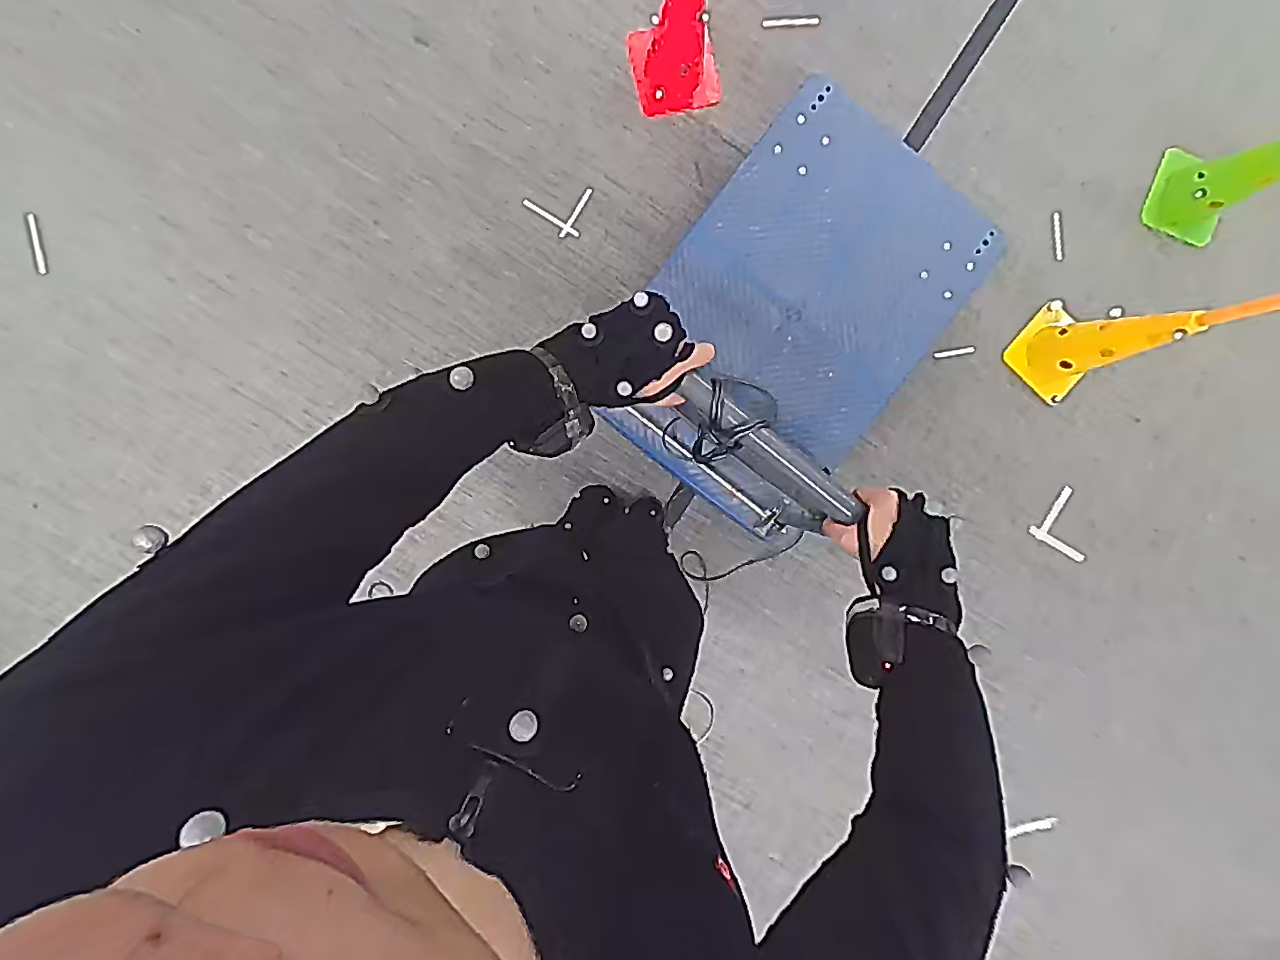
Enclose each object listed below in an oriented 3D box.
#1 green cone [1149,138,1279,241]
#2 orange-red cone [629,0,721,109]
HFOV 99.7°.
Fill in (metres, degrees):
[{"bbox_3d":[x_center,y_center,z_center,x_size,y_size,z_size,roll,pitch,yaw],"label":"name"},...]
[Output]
[{"bbox_3d":[1.415,-0.714,1.199,0.200,0.368,0.202,19,94,-4],"label":"green cone"},{"bbox_3d":[0.096,-0.979,1.111,0.199,0.360,0.198,-13,95,-4],"label":"orange-red cone"}]
